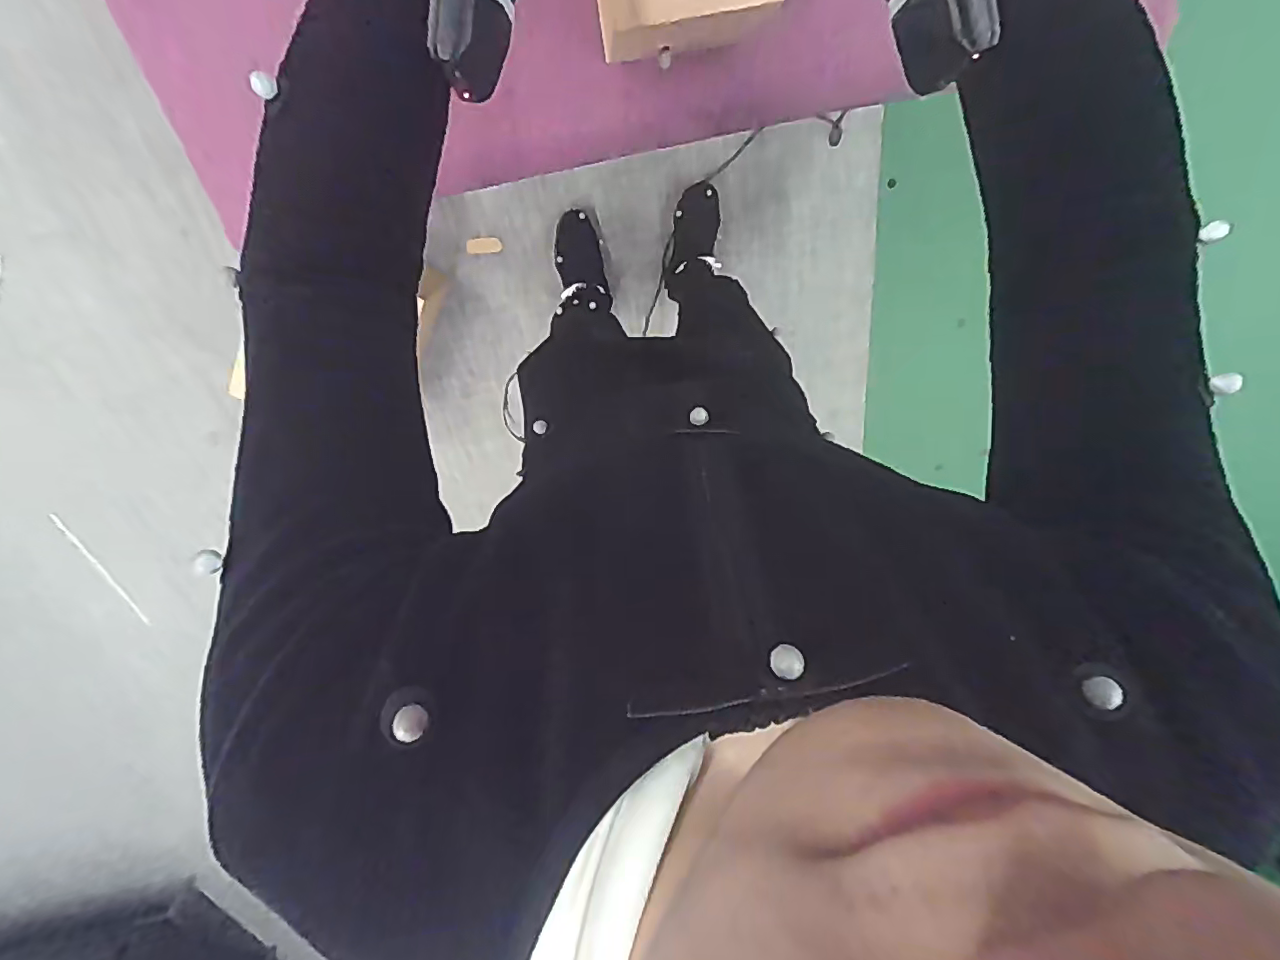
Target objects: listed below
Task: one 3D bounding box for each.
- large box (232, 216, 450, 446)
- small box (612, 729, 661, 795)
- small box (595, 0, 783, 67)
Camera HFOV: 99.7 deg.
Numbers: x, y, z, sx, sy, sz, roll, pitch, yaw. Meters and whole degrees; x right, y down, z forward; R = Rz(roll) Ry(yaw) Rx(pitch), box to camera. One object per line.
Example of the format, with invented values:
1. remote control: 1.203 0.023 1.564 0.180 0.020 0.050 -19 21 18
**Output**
1. large box: -0.702 -0.363 1.309 0.320 0.320 0.408 24 113 -19
2. small box: -0.018 1.181 2.273 0.179 0.176 0.168 -14 119 2
3. small box: 0.032 -0.533 0.523 0.168 0.176 0.179 -9 119 1
